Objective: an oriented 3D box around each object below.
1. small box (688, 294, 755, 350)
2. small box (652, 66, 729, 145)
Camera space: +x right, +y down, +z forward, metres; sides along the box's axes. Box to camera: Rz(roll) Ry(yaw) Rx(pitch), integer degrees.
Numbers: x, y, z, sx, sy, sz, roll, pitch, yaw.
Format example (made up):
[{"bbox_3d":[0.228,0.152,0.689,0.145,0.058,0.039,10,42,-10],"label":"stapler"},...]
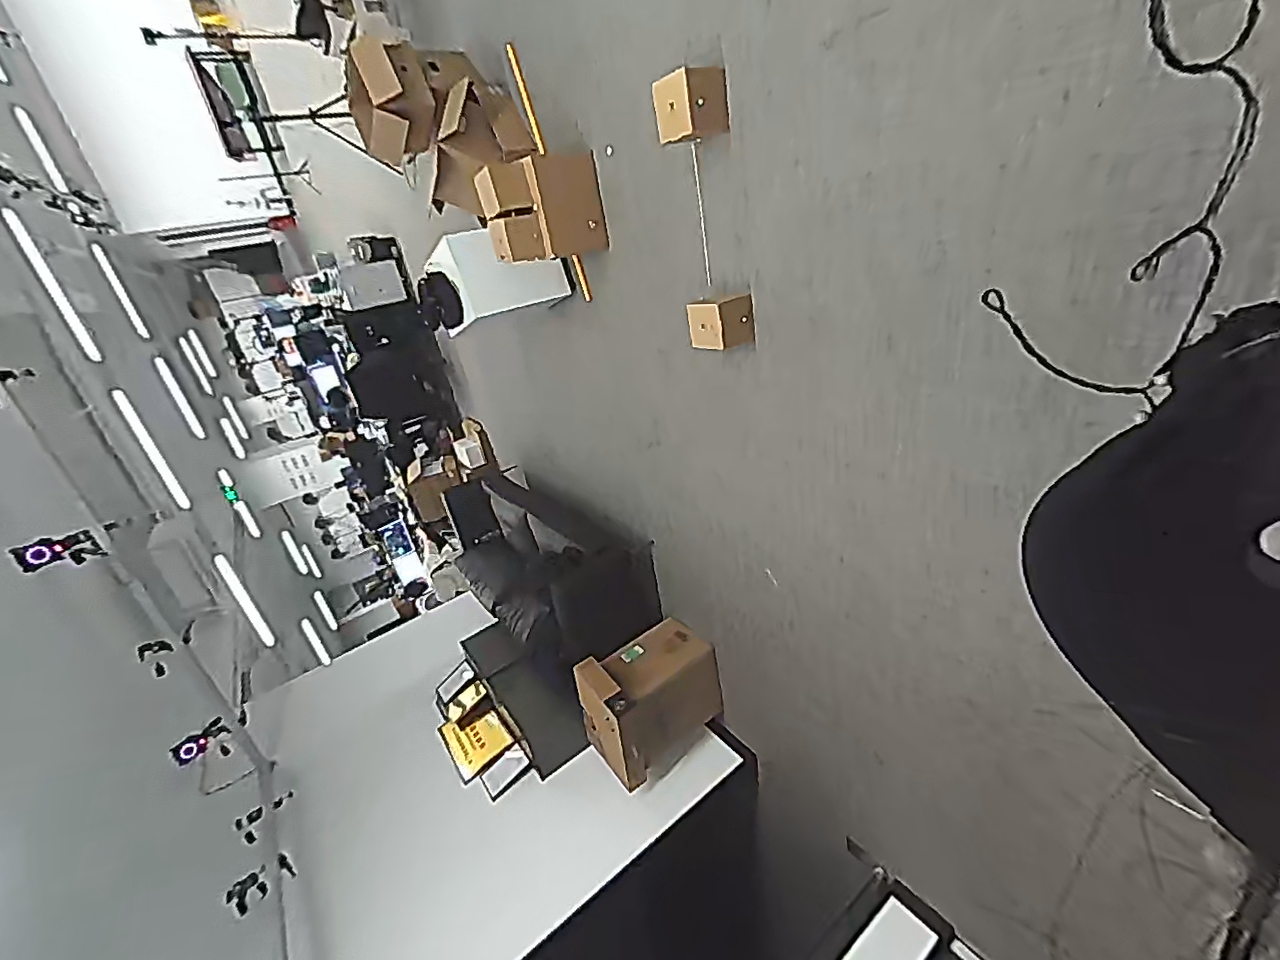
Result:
[{"bbox_3d":[0.305,-0.595,2.022,0.179,0.176,0.168,22,132,51],"label":"small box"},{"bbox_3d":[0.166,-1.207,1.746,0.168,0.176,0.179,22,132,51],"label":"small box"}]
